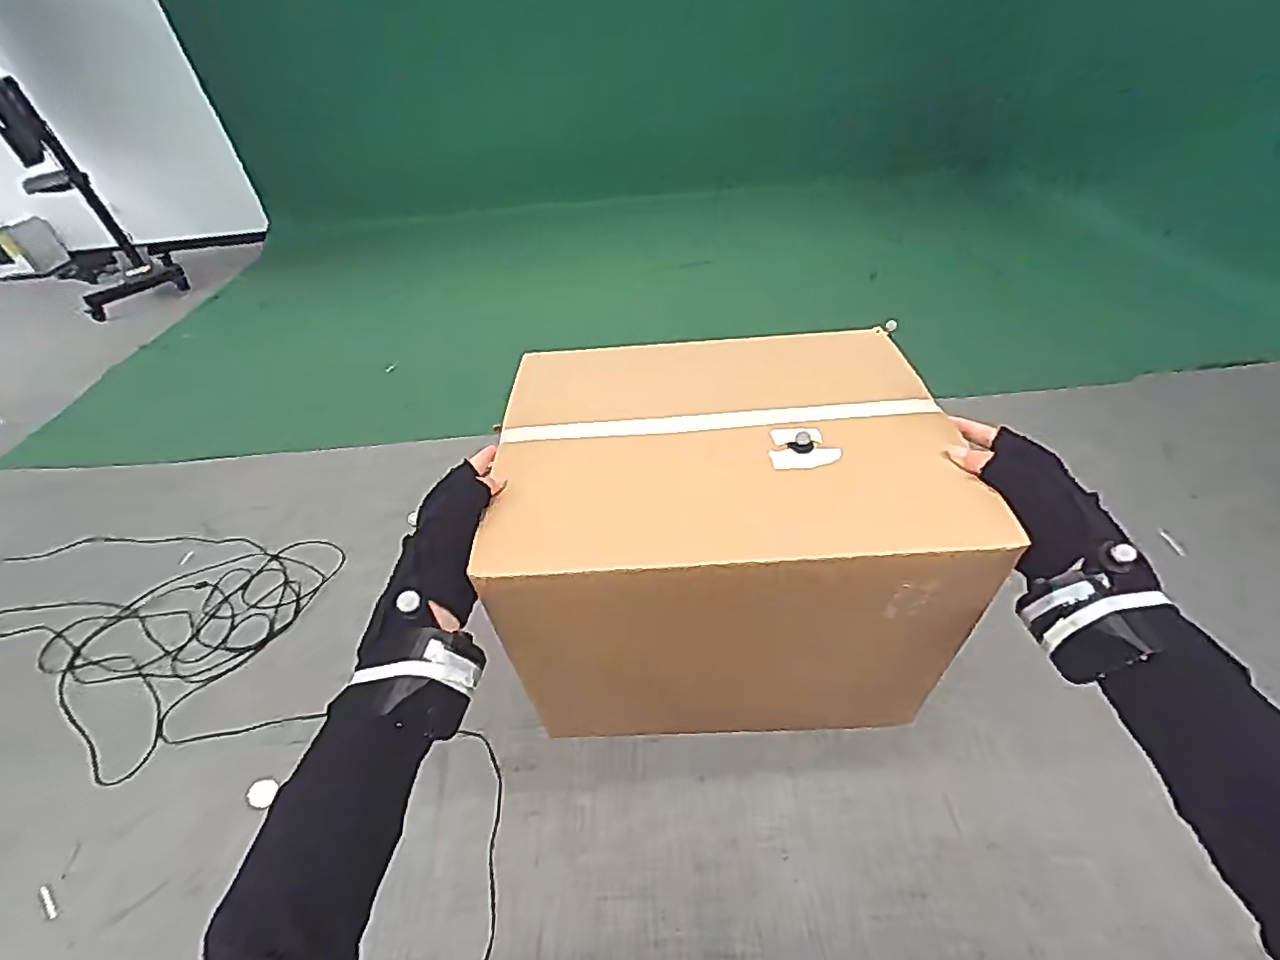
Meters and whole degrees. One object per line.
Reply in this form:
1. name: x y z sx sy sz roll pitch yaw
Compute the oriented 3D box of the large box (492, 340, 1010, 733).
1. large box: 0.085 0.064 0.616 0.408 0.320 0.320 -3 44 2
